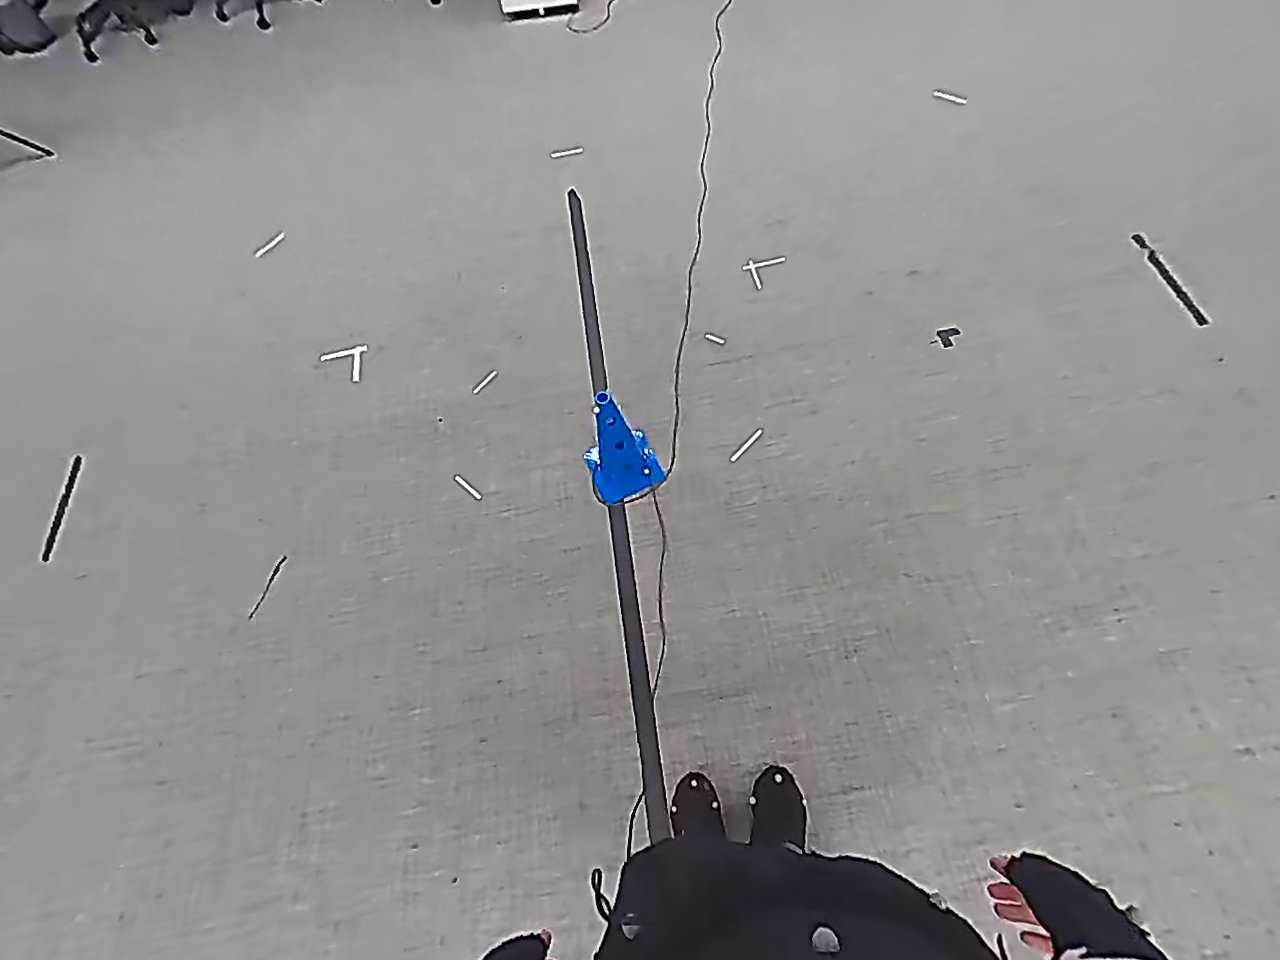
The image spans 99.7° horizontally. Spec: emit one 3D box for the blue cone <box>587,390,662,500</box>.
[{"bbox_3d":[-0.067,-0.124,1.467,0.193,0.380,0.192,-25,63,-7],"label":"blue cone"}]
